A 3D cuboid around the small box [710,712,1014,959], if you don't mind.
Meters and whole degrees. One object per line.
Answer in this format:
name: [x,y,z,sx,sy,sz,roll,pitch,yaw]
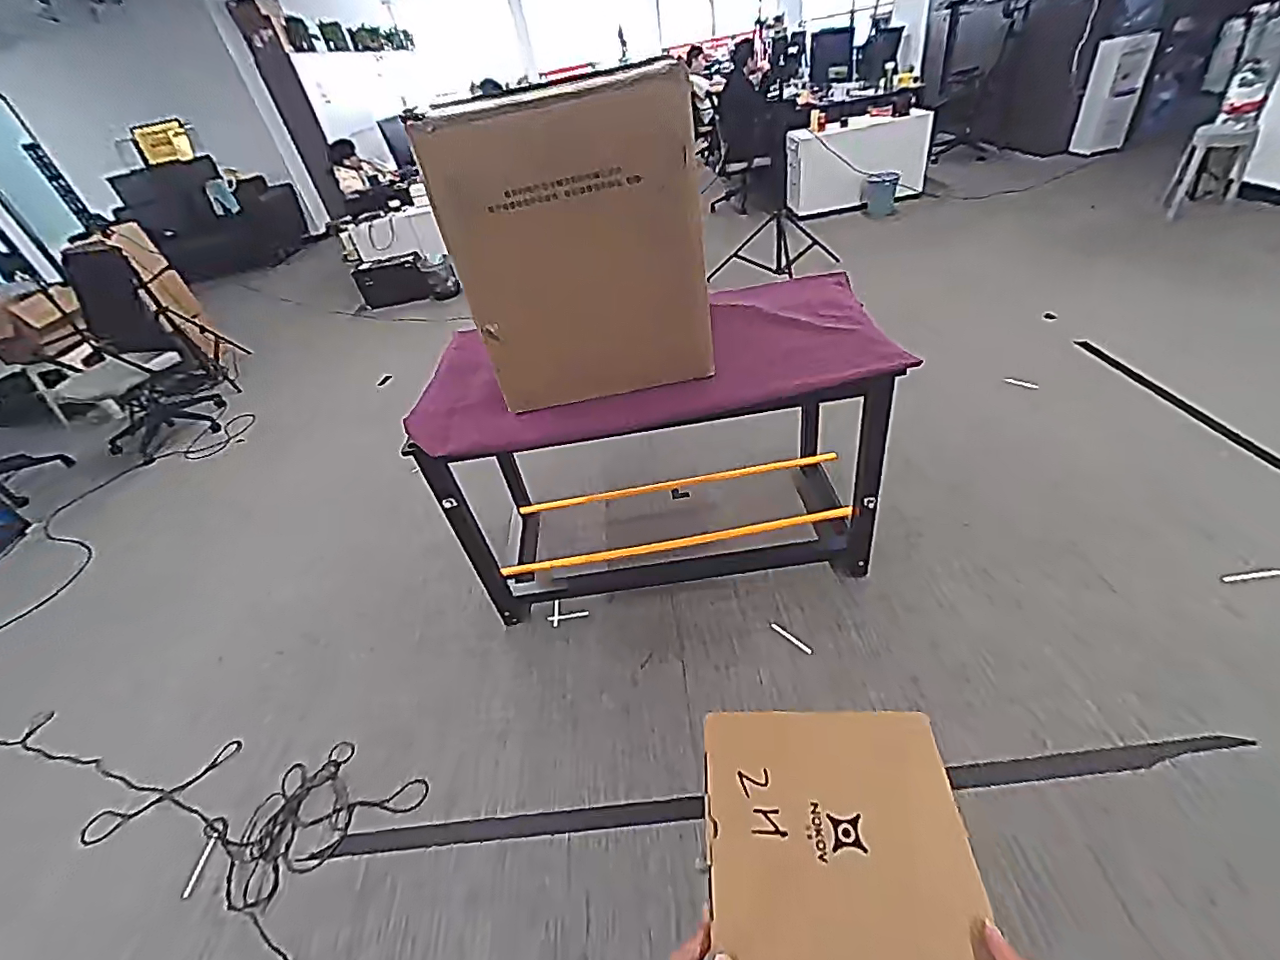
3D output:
small box: [0.147,0.300,0.427,0.179,0.176,0.168,-3,43,7]
